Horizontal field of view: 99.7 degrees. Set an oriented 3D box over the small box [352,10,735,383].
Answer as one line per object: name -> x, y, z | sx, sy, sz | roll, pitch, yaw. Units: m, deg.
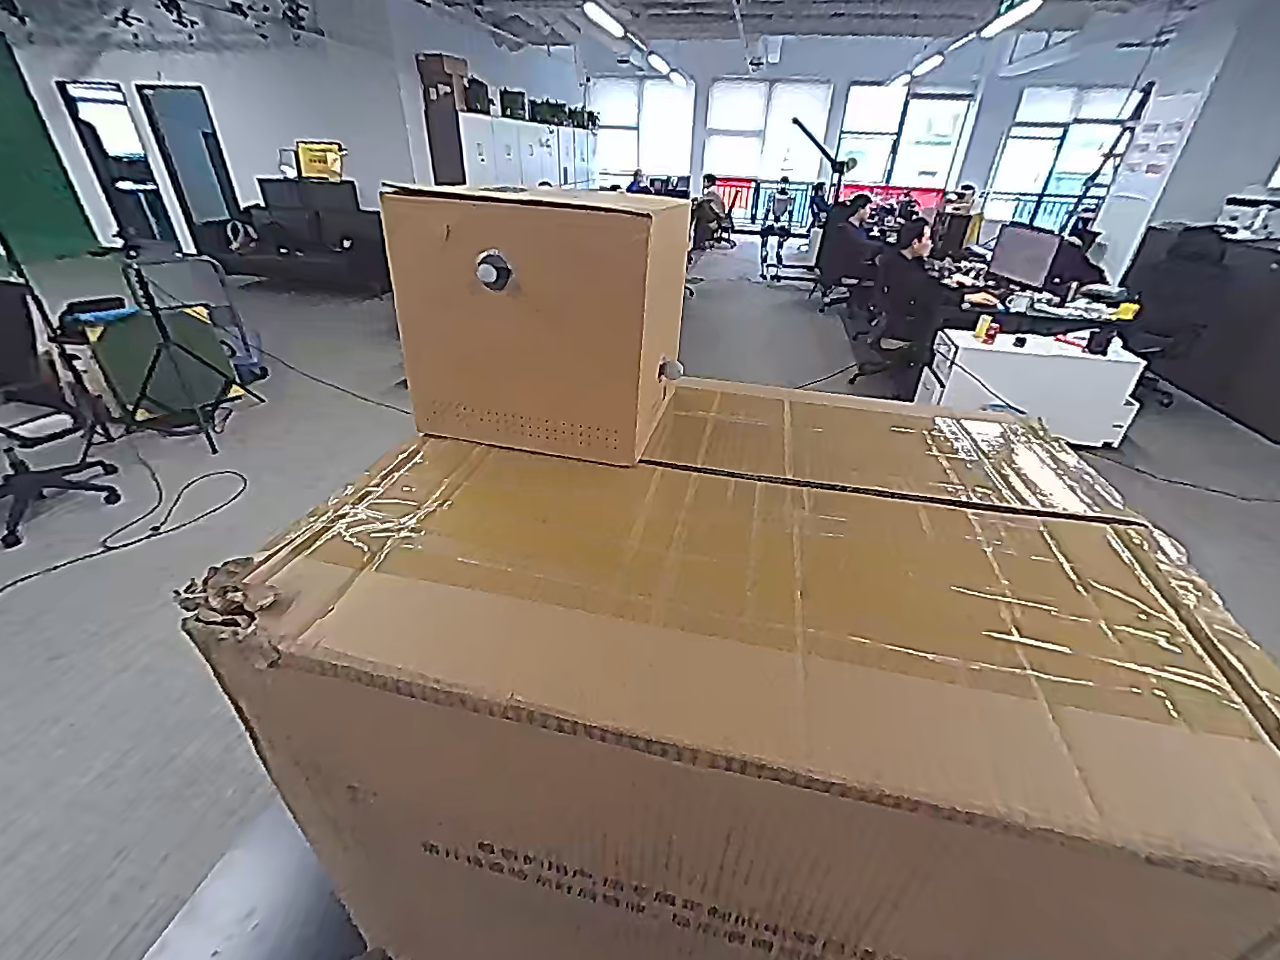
small box -> -0.042, -0.171, 0.349 | 0.179, 0.176, 0.168 | 10, 31, 9
